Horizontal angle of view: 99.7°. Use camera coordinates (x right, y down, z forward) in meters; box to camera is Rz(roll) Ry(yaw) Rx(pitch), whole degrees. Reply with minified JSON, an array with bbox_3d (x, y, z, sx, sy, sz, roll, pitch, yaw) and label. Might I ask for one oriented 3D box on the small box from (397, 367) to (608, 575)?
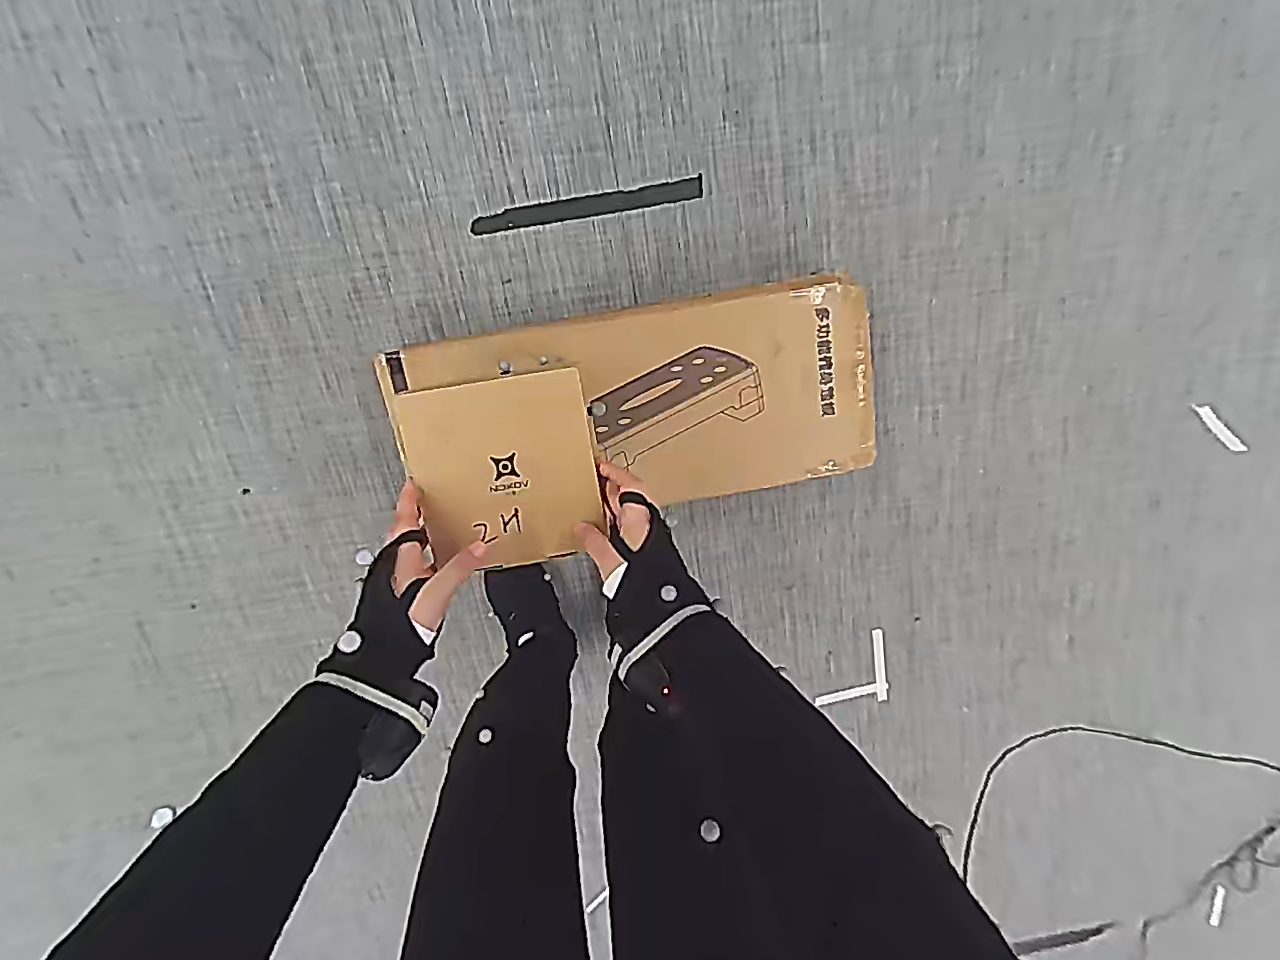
[{"bbox_3d":[-0.130,-0.023,0.577,0.168,0.176,0.179,-10,105,-2],"label":"small box"}]
